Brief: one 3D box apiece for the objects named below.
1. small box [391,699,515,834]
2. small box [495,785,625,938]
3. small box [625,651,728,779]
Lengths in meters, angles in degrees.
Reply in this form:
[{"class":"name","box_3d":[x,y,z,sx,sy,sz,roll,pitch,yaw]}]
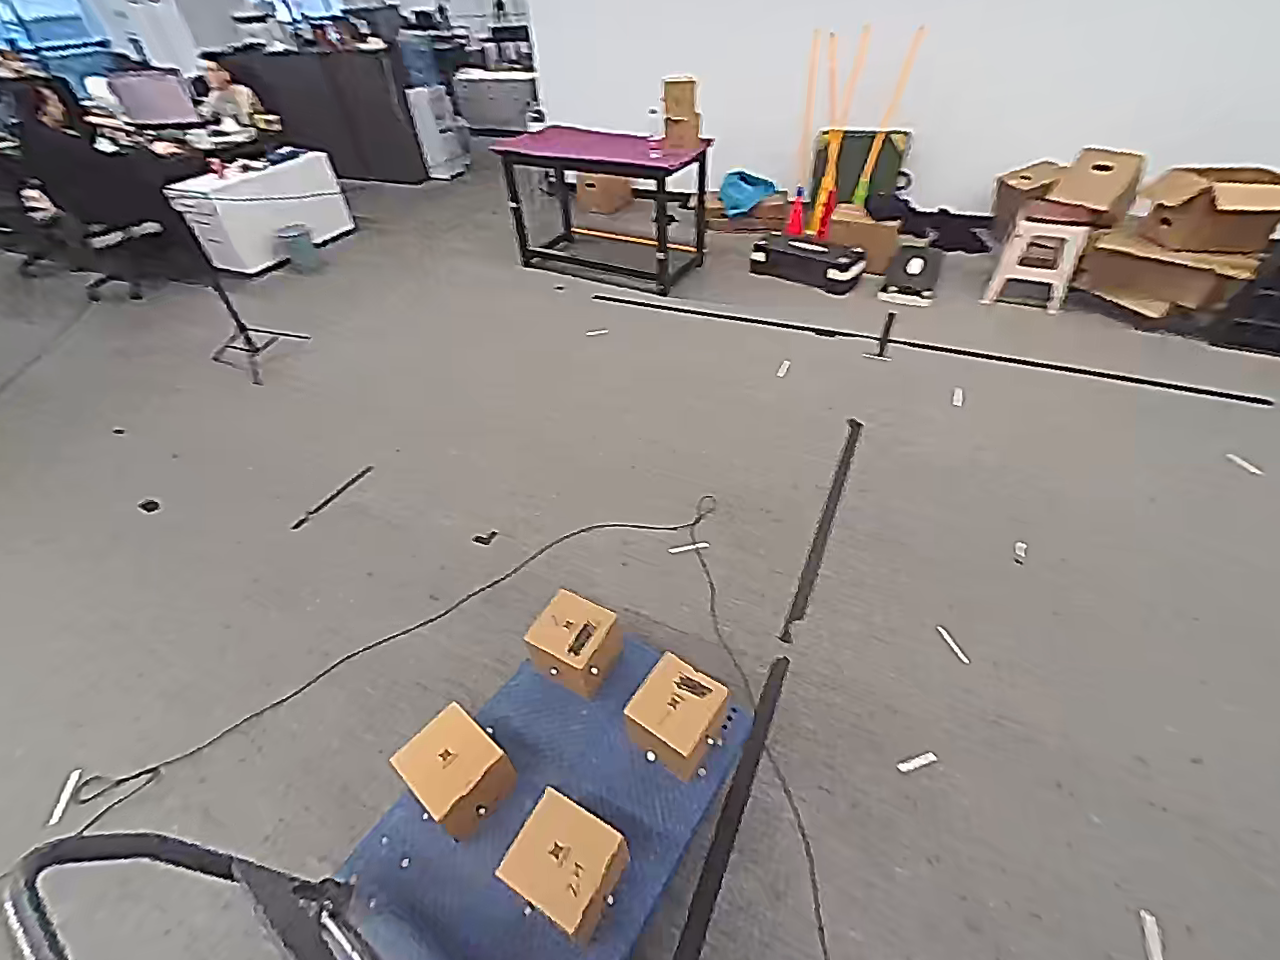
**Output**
[{"class":"small box","box_3d":[-0.398,0.624,1.172,0.179,0.176,0.168,30,52,28]},{"class":"small box","box_3d":[-0.144,0.734,1.038,0.179,0.176,0.168,20,49,23]},{"class":"small box","box_3d":[0.082,0.535,1.232,0.168,0.176,0.179,25,52,27]}]
